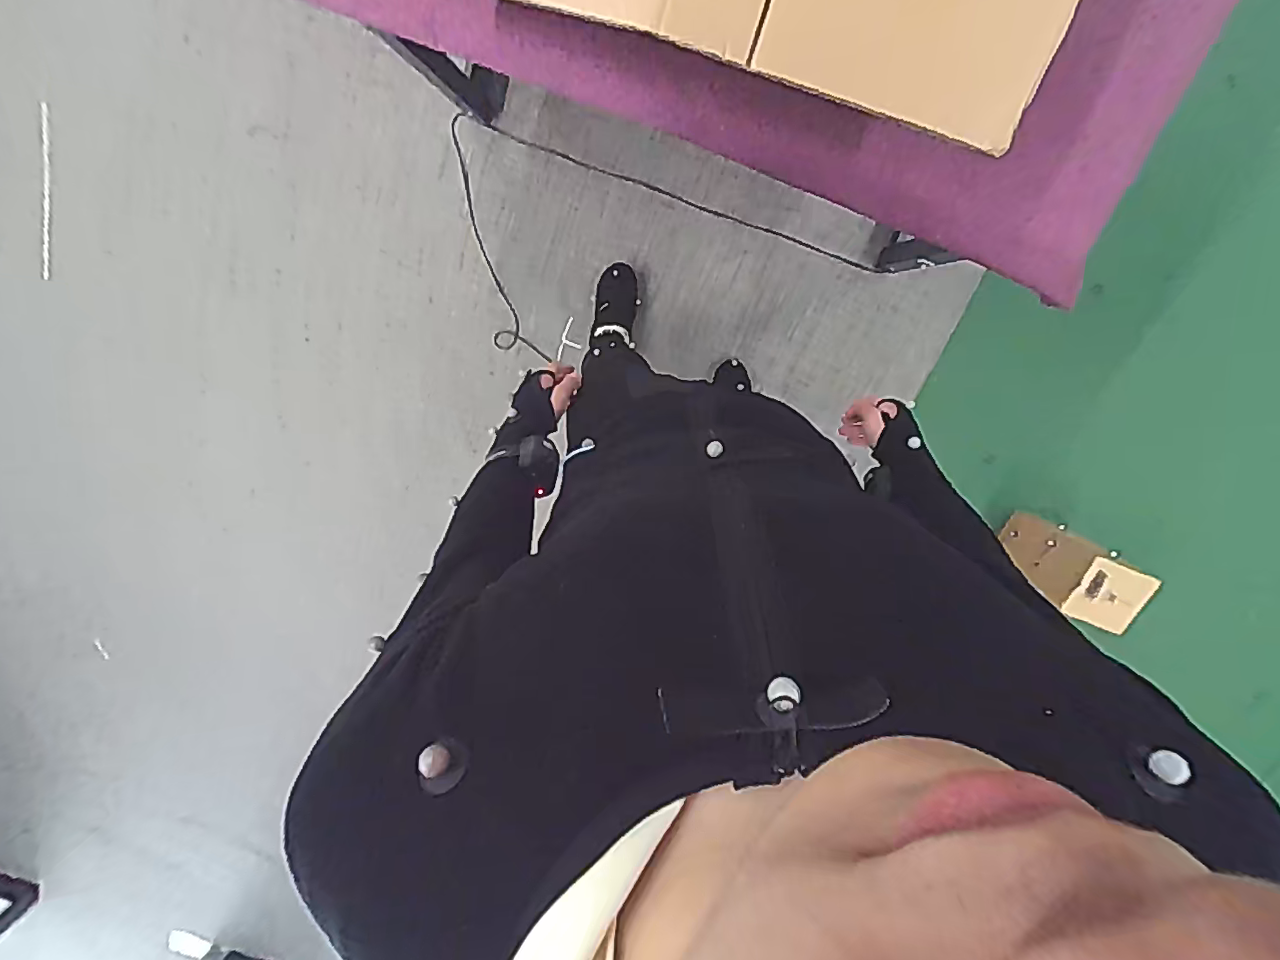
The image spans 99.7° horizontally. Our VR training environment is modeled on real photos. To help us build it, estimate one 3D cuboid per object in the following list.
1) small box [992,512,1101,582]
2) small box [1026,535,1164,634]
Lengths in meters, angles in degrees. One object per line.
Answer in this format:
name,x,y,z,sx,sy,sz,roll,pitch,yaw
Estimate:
small box,1.170,0.211,1.551,0.179,0.176,0.168,21,108,-2
small box,1.159,0.260,1.396,0.179,0.176,0.168,21,108,-3
